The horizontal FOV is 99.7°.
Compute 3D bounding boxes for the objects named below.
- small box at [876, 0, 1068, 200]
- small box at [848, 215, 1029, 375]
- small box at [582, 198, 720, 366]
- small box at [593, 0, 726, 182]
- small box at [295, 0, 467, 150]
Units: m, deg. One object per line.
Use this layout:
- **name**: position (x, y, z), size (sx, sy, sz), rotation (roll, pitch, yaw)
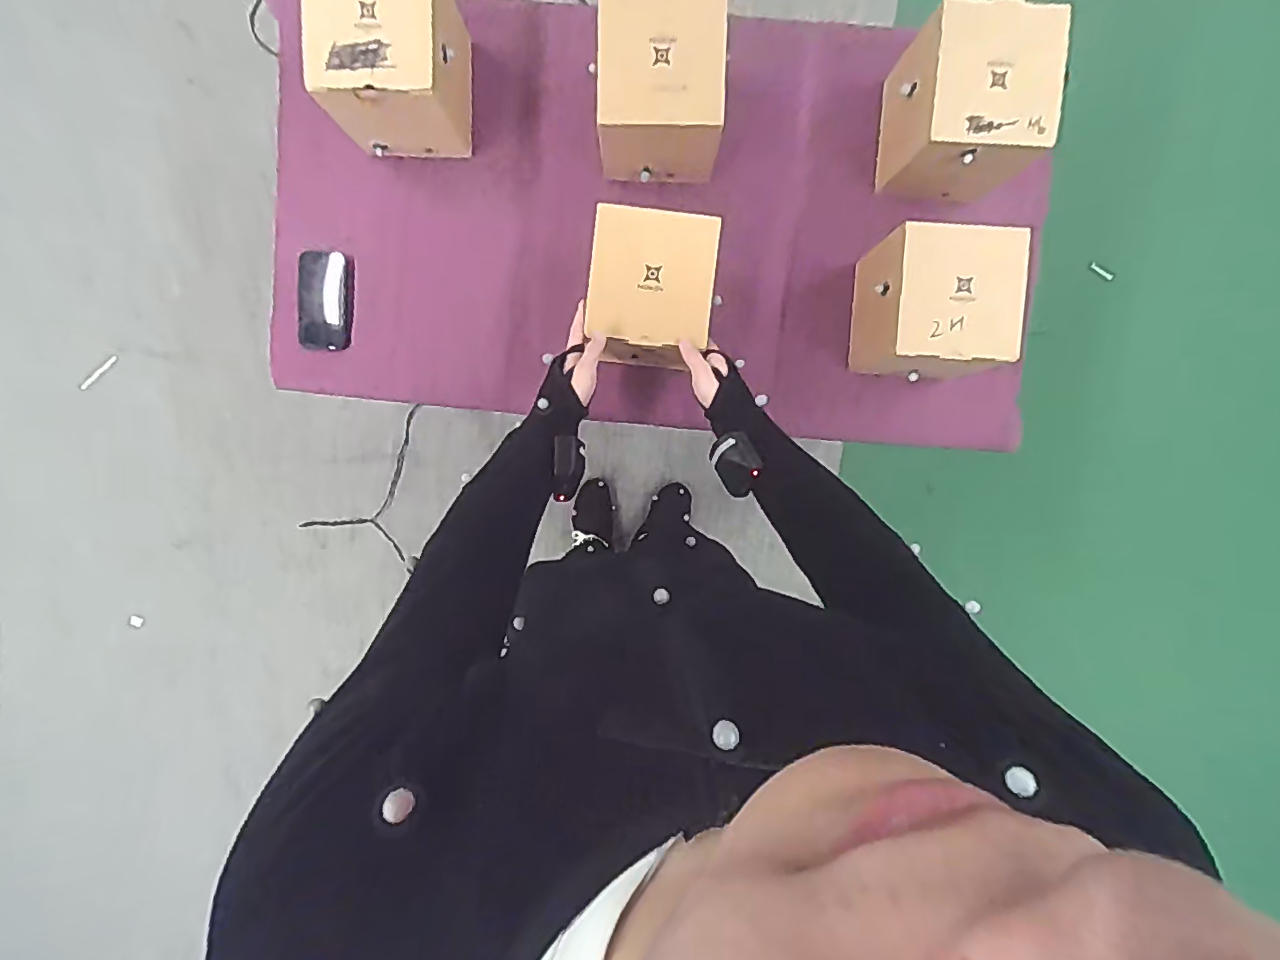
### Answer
- **small box**: position (0.452, -0.527, 0.763), size (0.168, 0.176, 0.179), rotation (3, 94, 0)
- **small box**: position (0.417, -0.255, 0.782), size (0.168, 0.176, 0.179), rotation (4, 94, 0)
- **small box**: position (0.012, -0.272, 0.780), size (0.168, 0.176, 0.179), rotation (6, 94, -1)
- **small box**: position (0.023, -0.551, 0.759), size (0.168, 0.176, 0.179), rotation (2, 95, 0)
- **small box**: position (-0.346, -0.588, 0.750), size (0.168, 0.176, 0.179), rotation (1, 94, -1)
